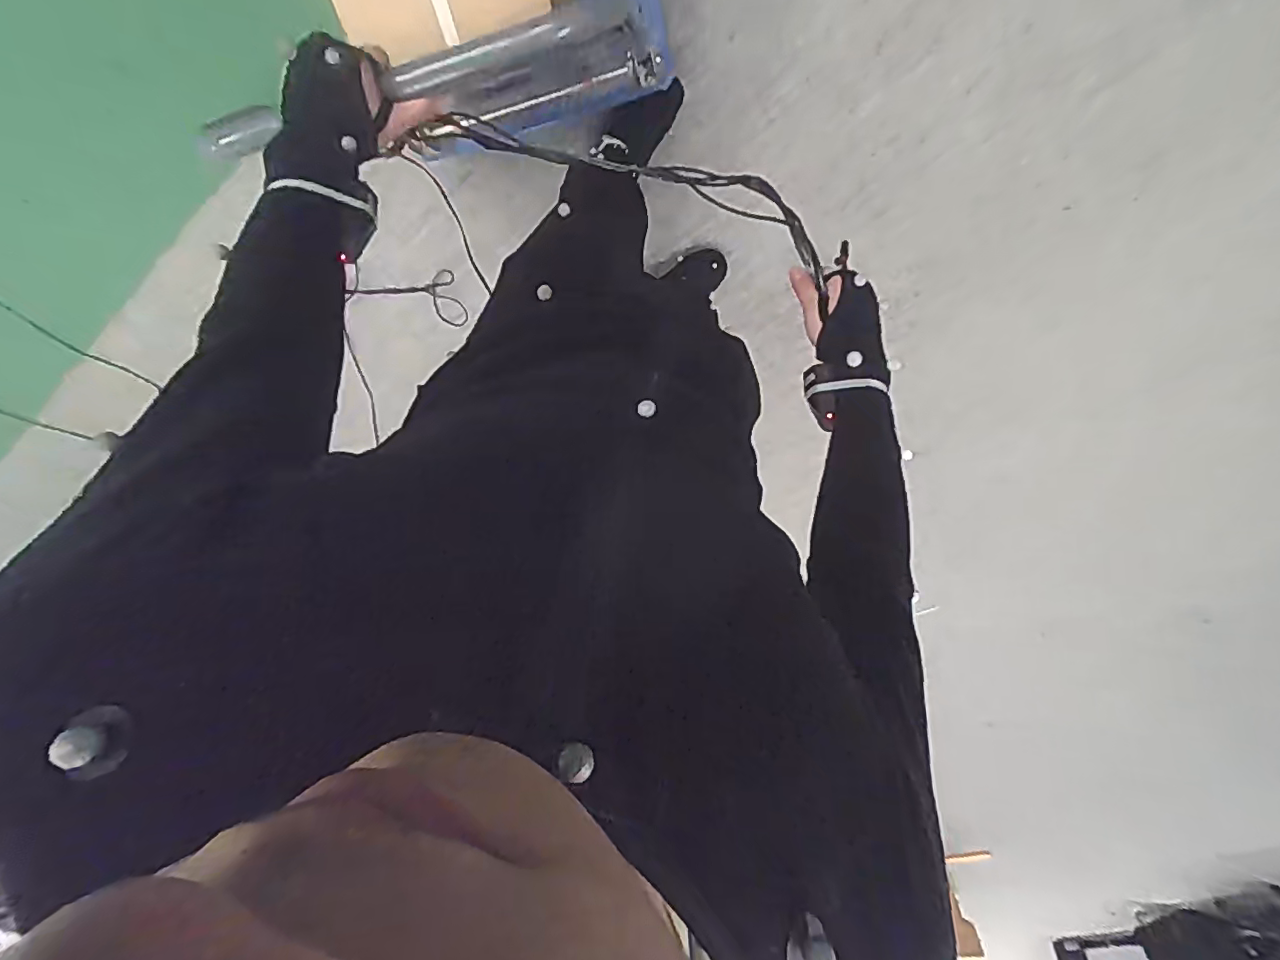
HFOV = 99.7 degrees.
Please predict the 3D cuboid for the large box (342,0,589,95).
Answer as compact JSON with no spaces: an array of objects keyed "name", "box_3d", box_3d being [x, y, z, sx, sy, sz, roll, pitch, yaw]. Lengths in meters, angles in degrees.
[{"name":"large box","box_3d":[-0.297,-0.879,0.840,0.320,0.320,0.408,-9,124,9]}]
